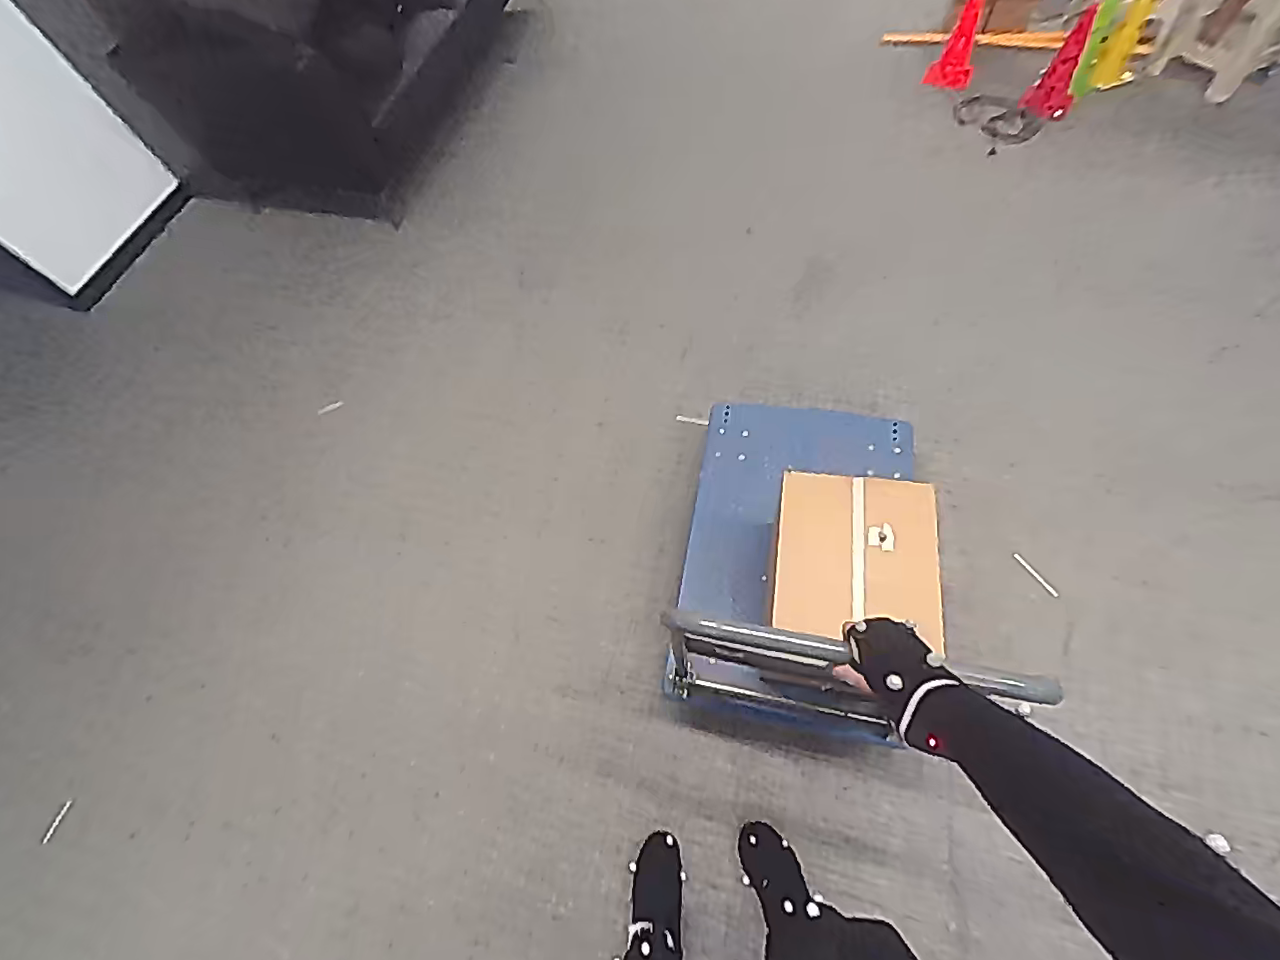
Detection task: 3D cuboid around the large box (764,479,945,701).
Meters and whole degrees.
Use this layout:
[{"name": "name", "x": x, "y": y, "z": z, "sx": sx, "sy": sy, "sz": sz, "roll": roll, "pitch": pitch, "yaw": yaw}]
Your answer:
[{"name": "large box", "x": 0.455, "y": 0.255, "z": 1.225, "sx": 0.320, "sy": 0.320, "sz": 0.408, "roll": 6, "pitch": 63, "yaw": 10}]
